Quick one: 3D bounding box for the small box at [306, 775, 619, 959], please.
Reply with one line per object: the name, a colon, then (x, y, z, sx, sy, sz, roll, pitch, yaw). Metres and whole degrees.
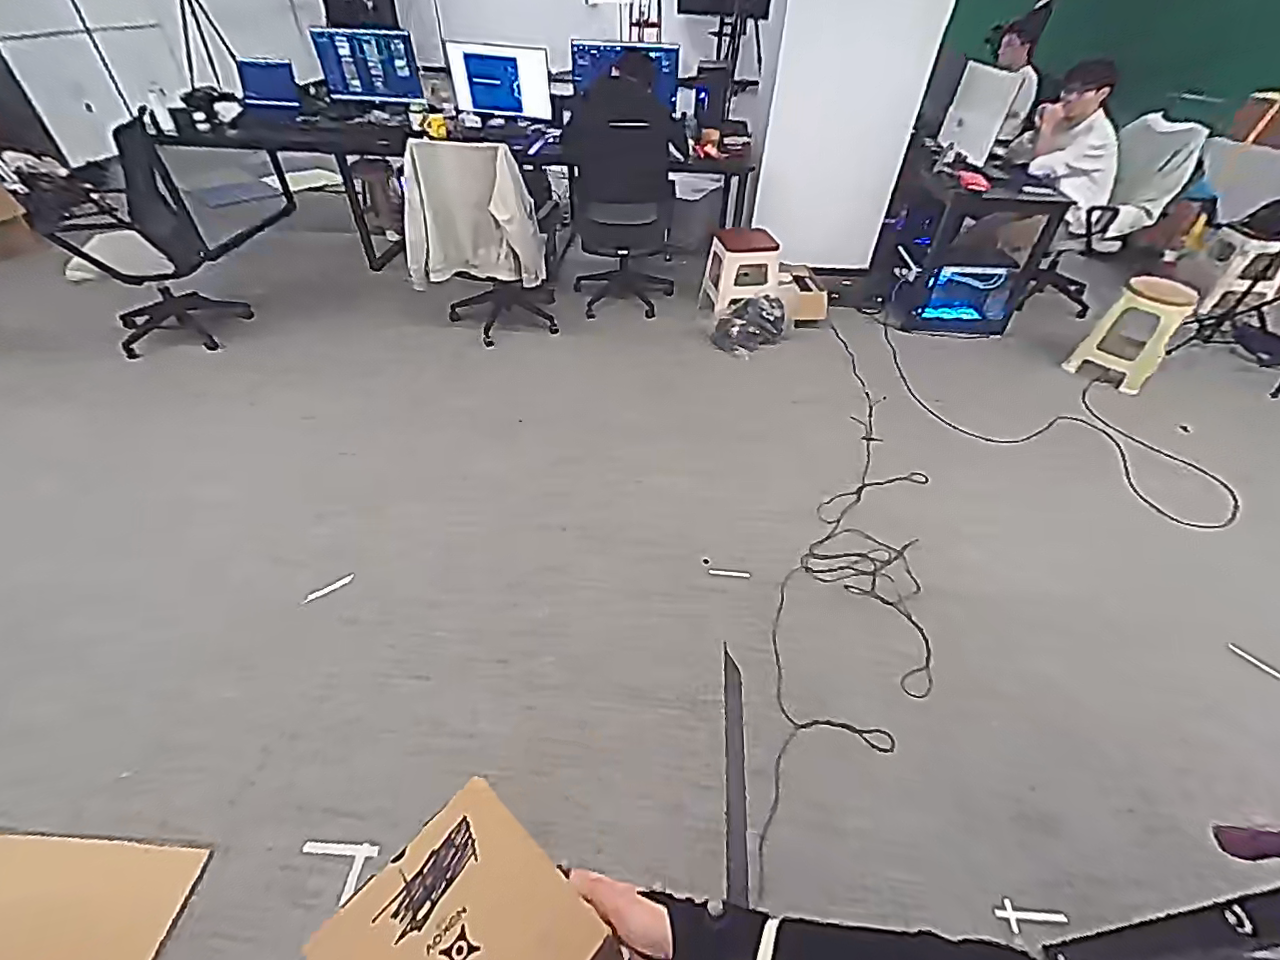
small box: (-0.137, 0.407, 0.465, 0.179, 0.176, 0.168, 29, 52, 31)
